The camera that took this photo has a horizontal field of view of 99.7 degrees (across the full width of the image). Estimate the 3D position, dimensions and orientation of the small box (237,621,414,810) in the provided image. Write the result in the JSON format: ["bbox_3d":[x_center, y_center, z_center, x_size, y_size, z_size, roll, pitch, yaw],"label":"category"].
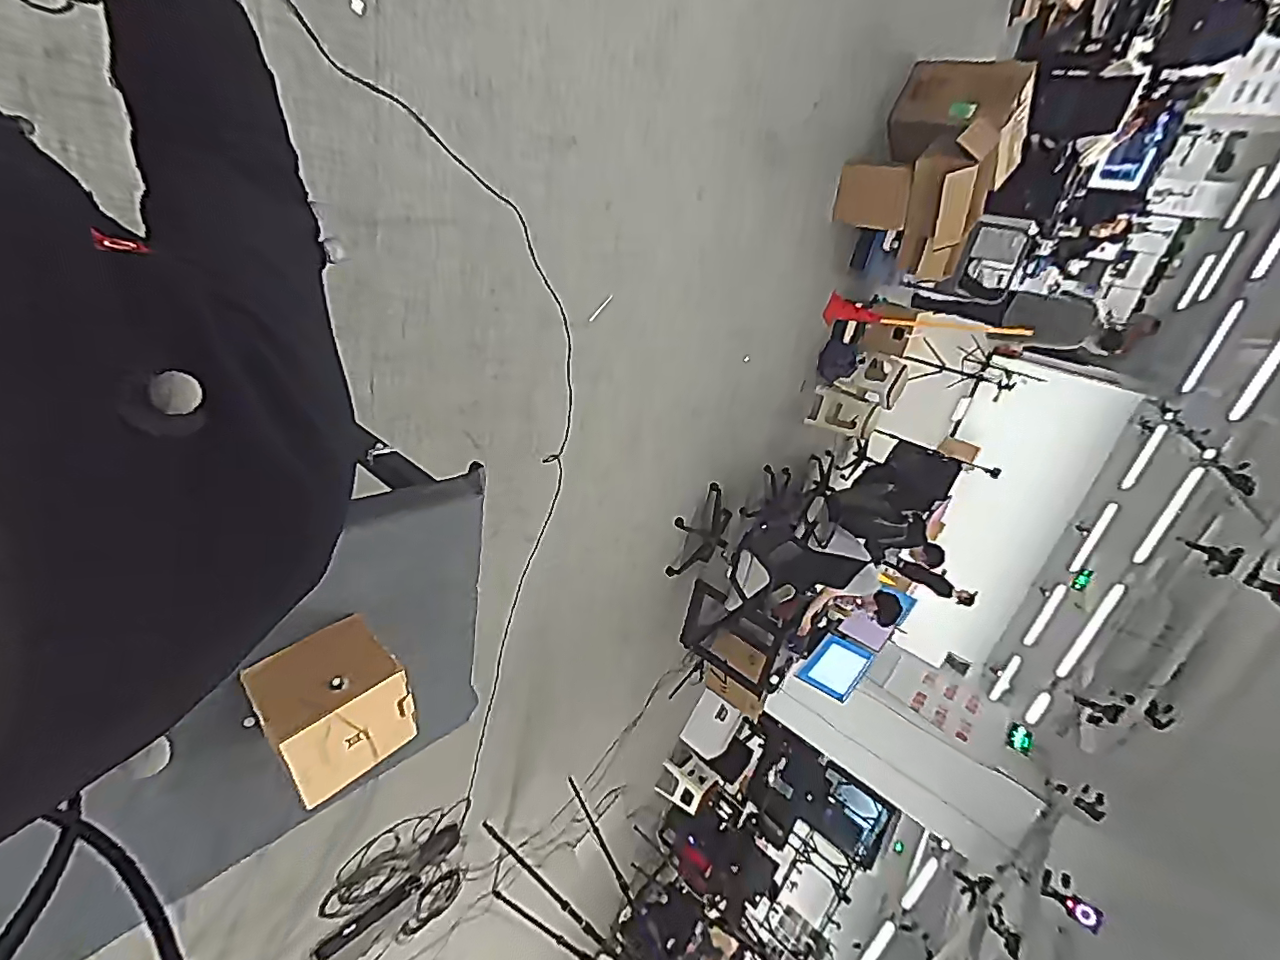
[{"bbox_3d":[-0.490,0.358,0.856,0.179,0.176,0.168,-28,133,-42],"label":"small box"}]
